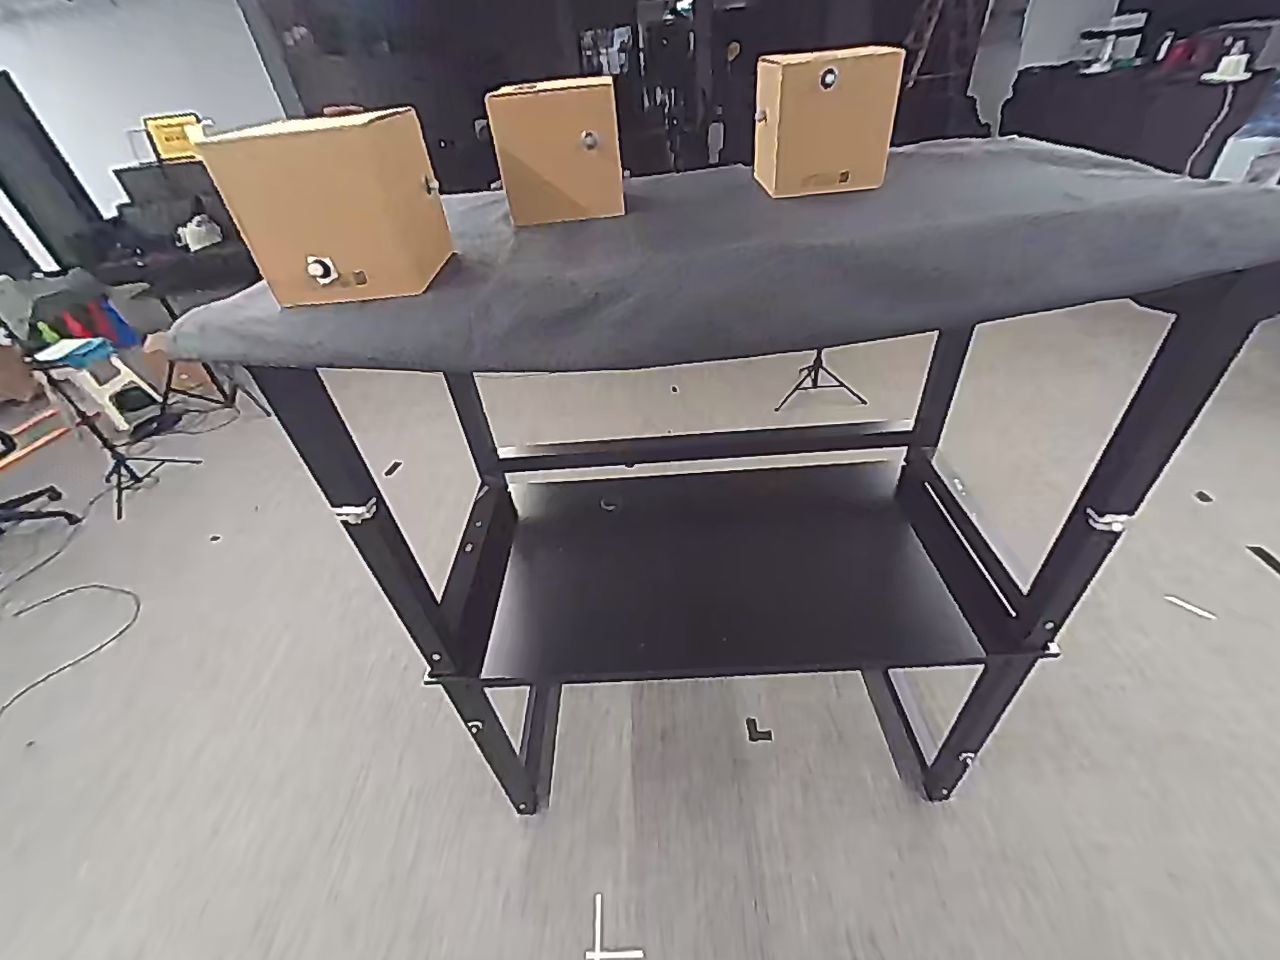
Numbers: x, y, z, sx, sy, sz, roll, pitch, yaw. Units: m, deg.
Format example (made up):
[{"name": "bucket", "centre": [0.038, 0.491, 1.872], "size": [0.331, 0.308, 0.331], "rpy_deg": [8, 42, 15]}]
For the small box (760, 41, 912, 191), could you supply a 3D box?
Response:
[{"name": "small box", "centre": [0.280, -0.550, 0.821], "size": [0.168, 0.176, 0.179], "rpy_deg": [-5, 38, 3]}]

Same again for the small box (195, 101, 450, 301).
[{"name": "small box", "centre": [-0.331, -0.317, 0.614], "size": [0.168, 0.176, 0.179], "rpy_deg": [-6, 38, 1]}]
